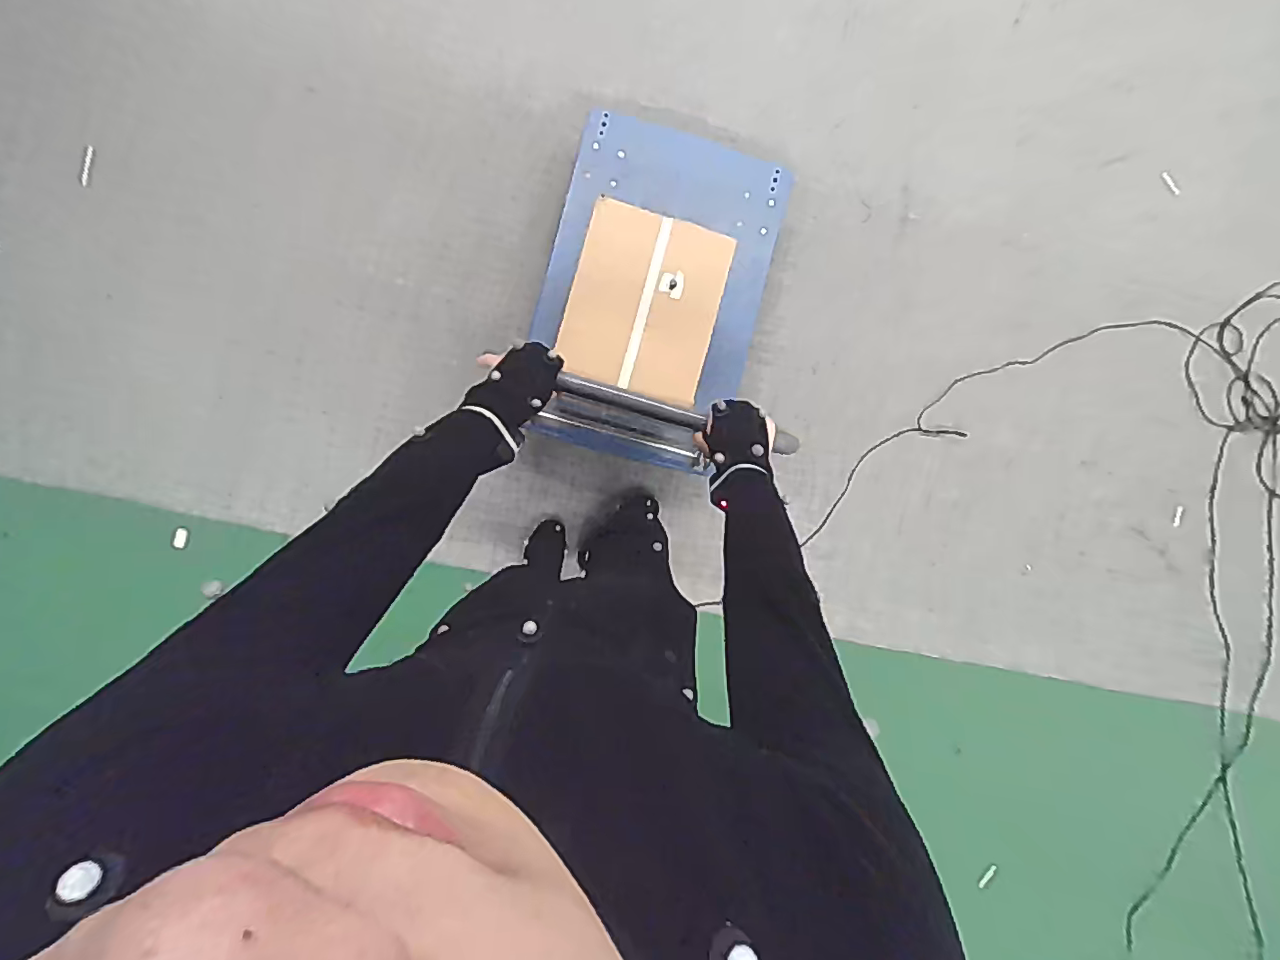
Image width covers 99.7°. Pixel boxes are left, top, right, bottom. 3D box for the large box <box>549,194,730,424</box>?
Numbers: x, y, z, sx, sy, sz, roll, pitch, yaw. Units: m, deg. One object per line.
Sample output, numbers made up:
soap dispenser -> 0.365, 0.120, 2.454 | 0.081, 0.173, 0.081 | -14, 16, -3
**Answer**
large box -> -0.012, -0.376, 1.299 | 0.320, 0.320, 0.408 | 16, 88, -6
